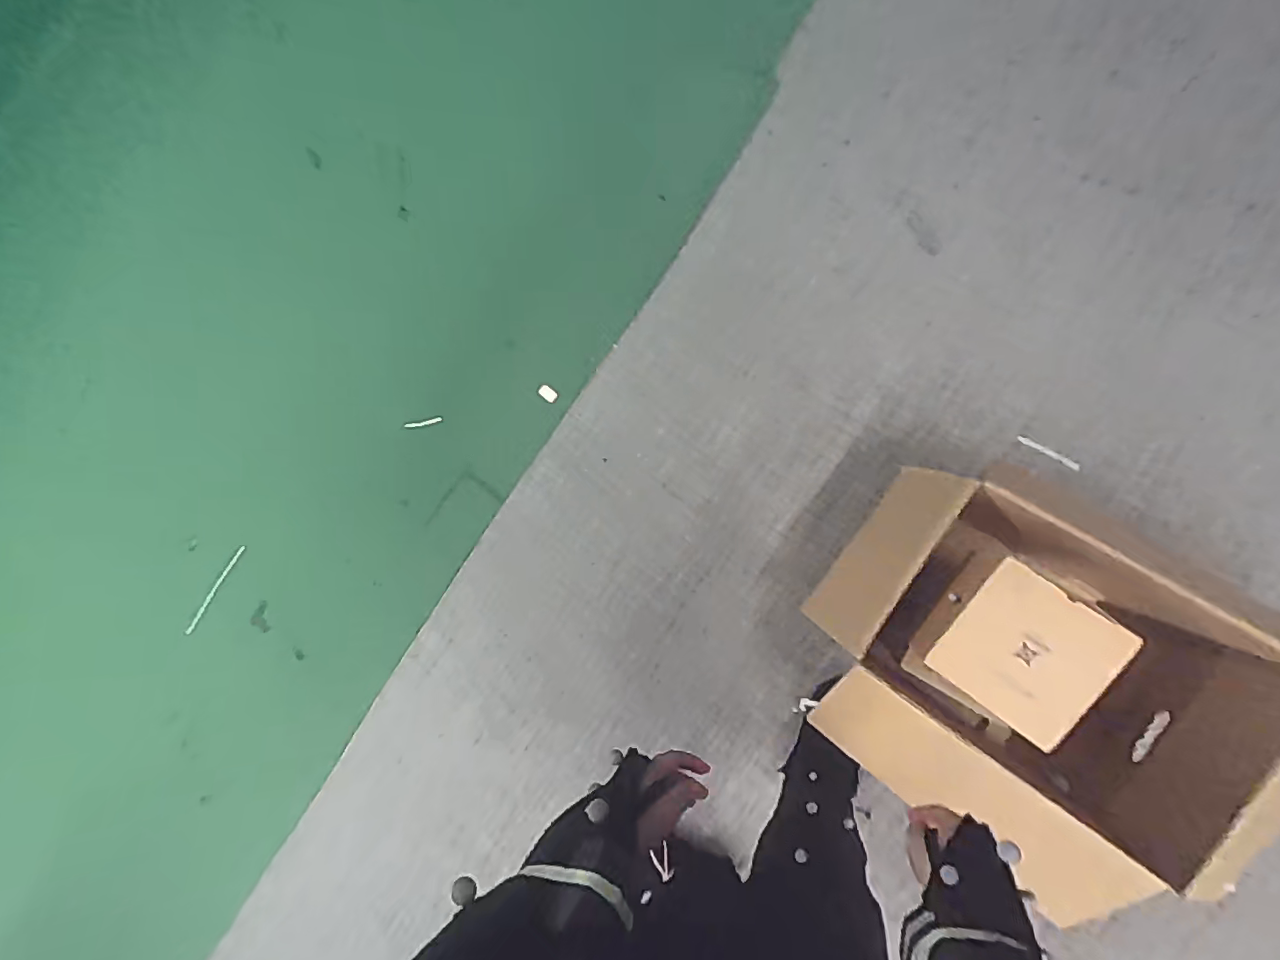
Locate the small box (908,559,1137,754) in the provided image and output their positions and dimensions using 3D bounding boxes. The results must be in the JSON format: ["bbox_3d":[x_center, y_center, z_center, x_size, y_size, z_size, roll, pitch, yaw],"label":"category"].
[{"bbox_3d":[0.496,0.222,0.739,0.168,0.176,0.179,38,96,18],"label":"small box"}]
